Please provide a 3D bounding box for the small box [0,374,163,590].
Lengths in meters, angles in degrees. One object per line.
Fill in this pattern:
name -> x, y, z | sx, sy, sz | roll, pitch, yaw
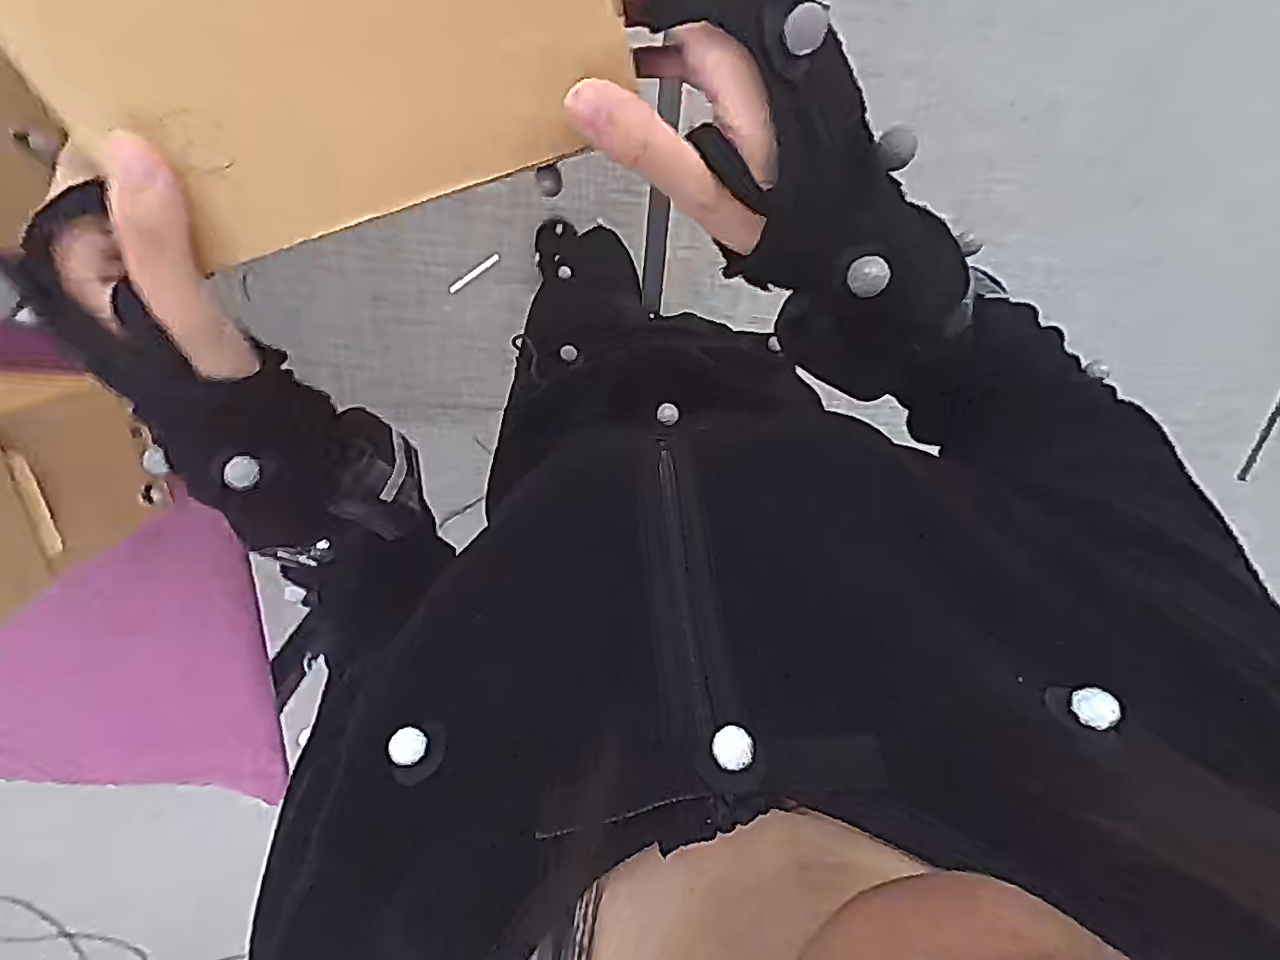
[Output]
small box -> -0.630, -0.006, 0.536 | 0.179, 0.176, 0.168 | 1, 114, -5

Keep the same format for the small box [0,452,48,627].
small box -> -0.602, 0.057, 0.385 | 0.168, 0.176, 0.179 | 3, 113, -7

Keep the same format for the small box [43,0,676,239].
small box -> -0.102, -0.215, 0.206 | 0.179, 0.176, 0.168 | -18, 128, -1
